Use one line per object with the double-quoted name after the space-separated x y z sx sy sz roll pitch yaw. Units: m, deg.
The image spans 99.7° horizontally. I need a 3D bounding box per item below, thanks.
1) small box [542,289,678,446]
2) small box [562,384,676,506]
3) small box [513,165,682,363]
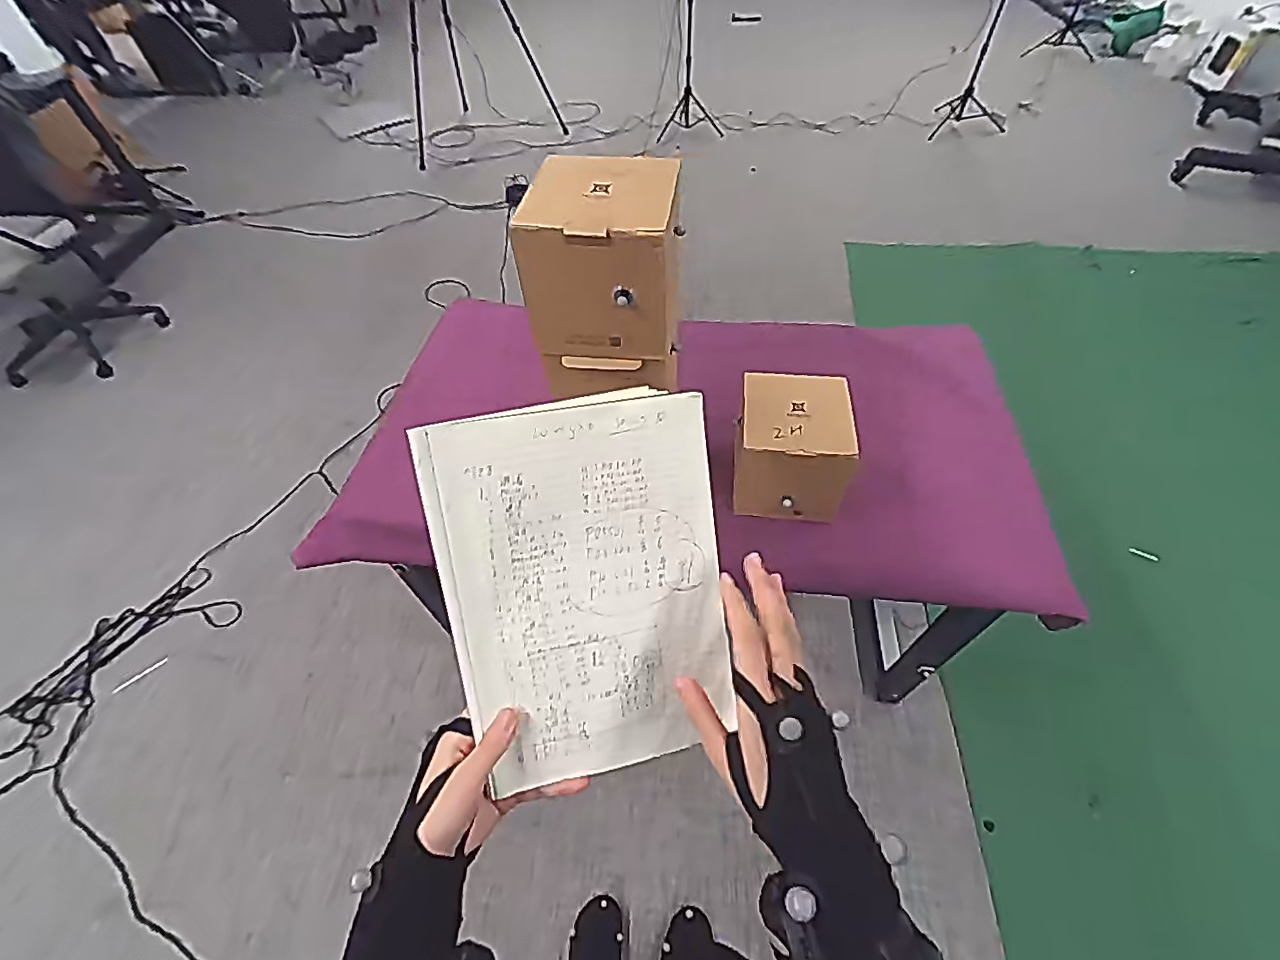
-0.033 -0.169 0.803 0.168 0.176 0.179 5 52 6 "small box"
-0.026 -0.072 0.937 0.168 0.176 0.179 5 53 6 "small box"
-0.039 -0.265 0.672 0.168 0.176 0.179 6 52 6 "small box"
